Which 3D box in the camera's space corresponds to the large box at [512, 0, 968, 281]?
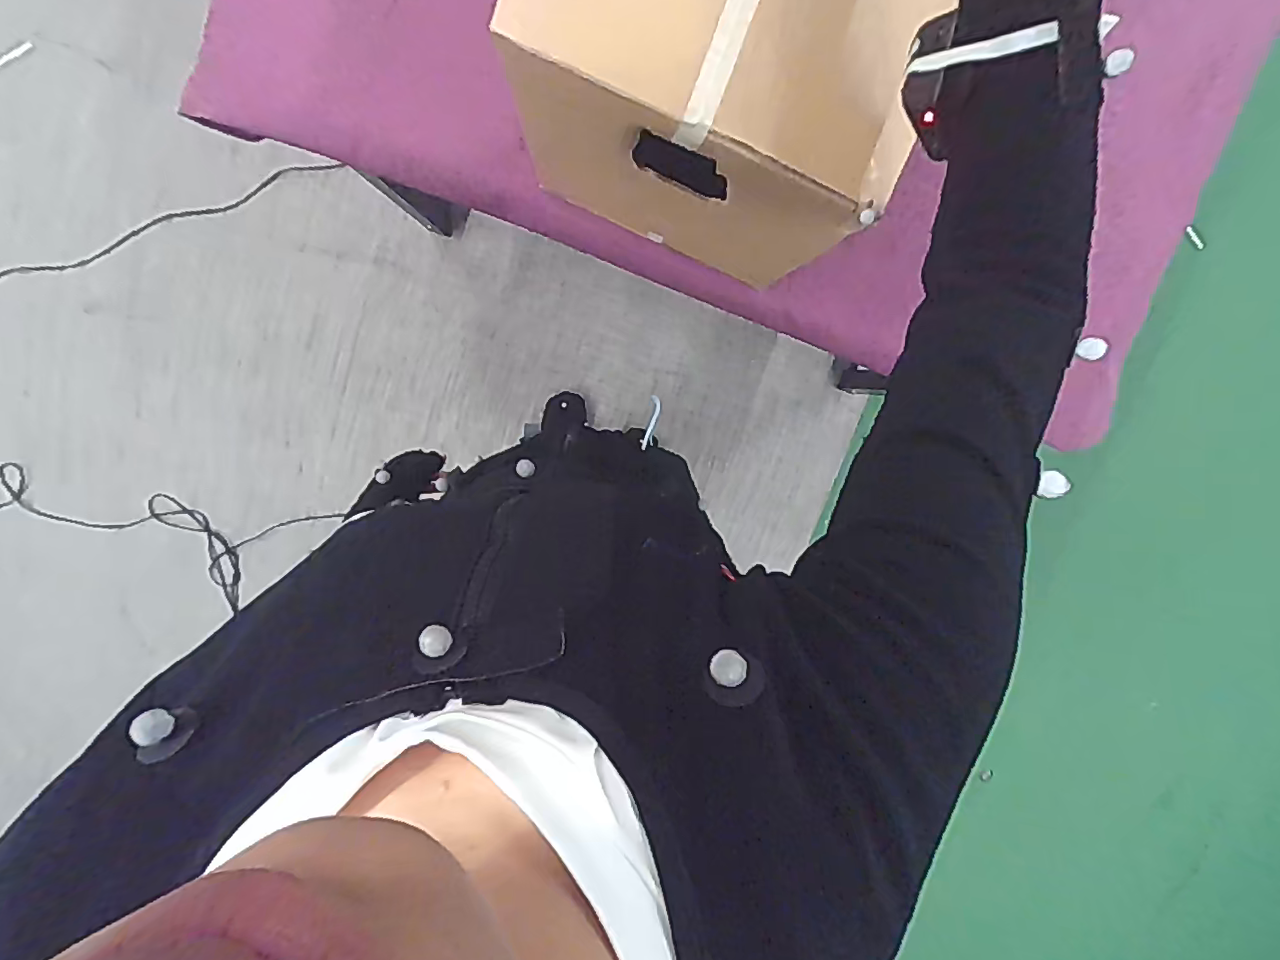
[{"bbox_3d":[0.107,-0.470,0.531,0.320,0.320,0.408,22,99,-7],"label":"large box"}]
